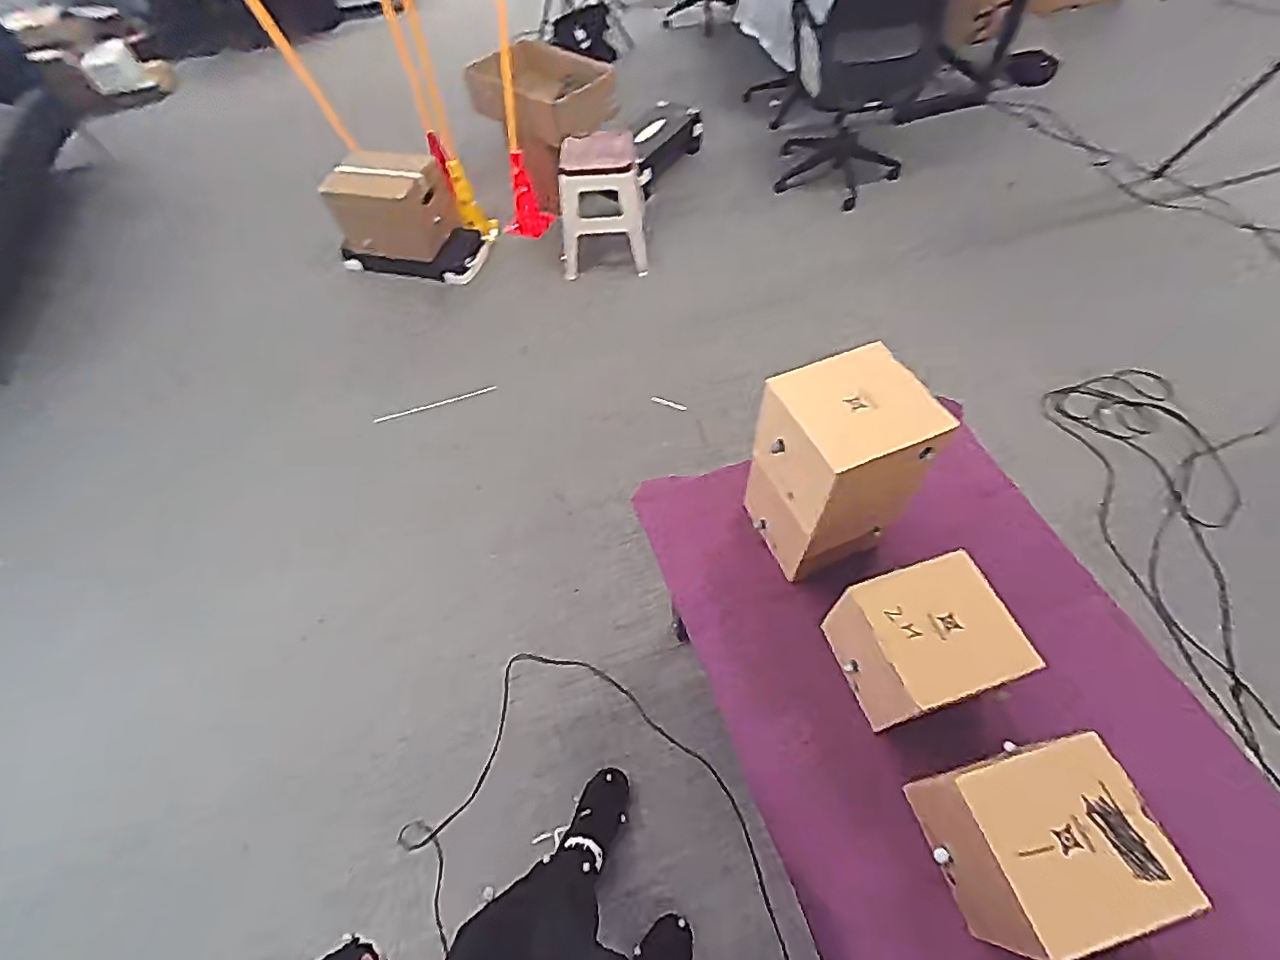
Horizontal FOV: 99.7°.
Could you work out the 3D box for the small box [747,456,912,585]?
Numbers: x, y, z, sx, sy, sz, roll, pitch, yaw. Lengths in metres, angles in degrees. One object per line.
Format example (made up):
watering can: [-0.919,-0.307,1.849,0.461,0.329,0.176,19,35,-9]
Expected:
small box: [0.291,0.044,0.876,0.179,0.176,0.168,-20,58,-9]

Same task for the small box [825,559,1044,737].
small box: [0.384,0.235,0.744,0.179,0.176,0.168,-16,57,-6]

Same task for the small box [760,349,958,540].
small box: [0.278,-0.043,0.740,0.179,0.176,0.168,-20,57,-10]
